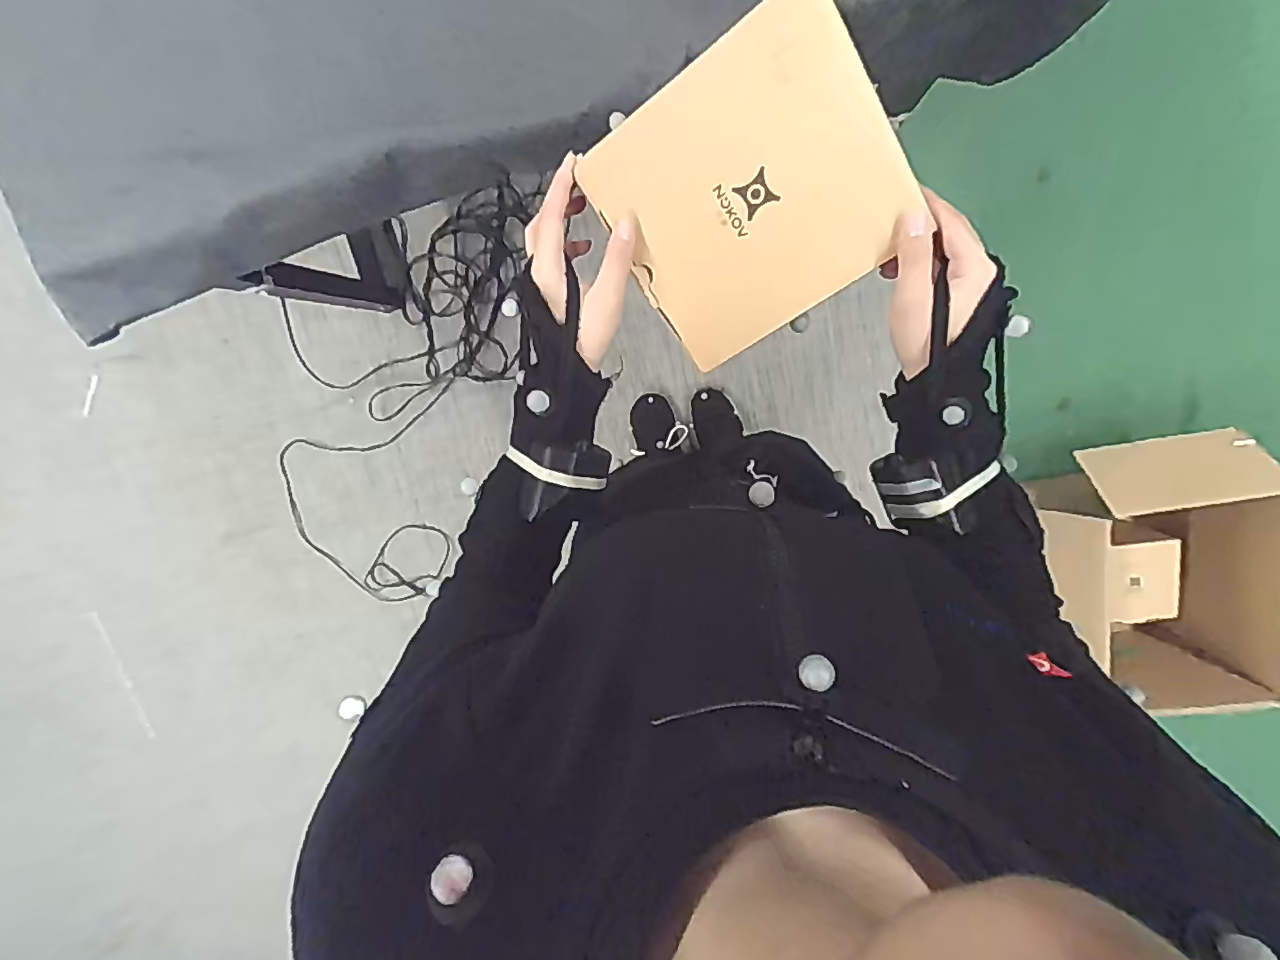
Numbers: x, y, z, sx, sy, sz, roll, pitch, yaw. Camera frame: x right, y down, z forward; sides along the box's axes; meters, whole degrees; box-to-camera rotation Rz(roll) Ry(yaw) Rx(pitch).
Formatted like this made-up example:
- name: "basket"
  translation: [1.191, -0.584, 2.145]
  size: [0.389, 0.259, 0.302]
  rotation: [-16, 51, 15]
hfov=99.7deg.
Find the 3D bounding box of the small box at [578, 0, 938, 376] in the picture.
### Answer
- name: "small box"
  translation: [0.083, -0.210, 0.414]
  size: [0.179, 0.176, 0.168]
  rotation: [-30, 106, 20]
